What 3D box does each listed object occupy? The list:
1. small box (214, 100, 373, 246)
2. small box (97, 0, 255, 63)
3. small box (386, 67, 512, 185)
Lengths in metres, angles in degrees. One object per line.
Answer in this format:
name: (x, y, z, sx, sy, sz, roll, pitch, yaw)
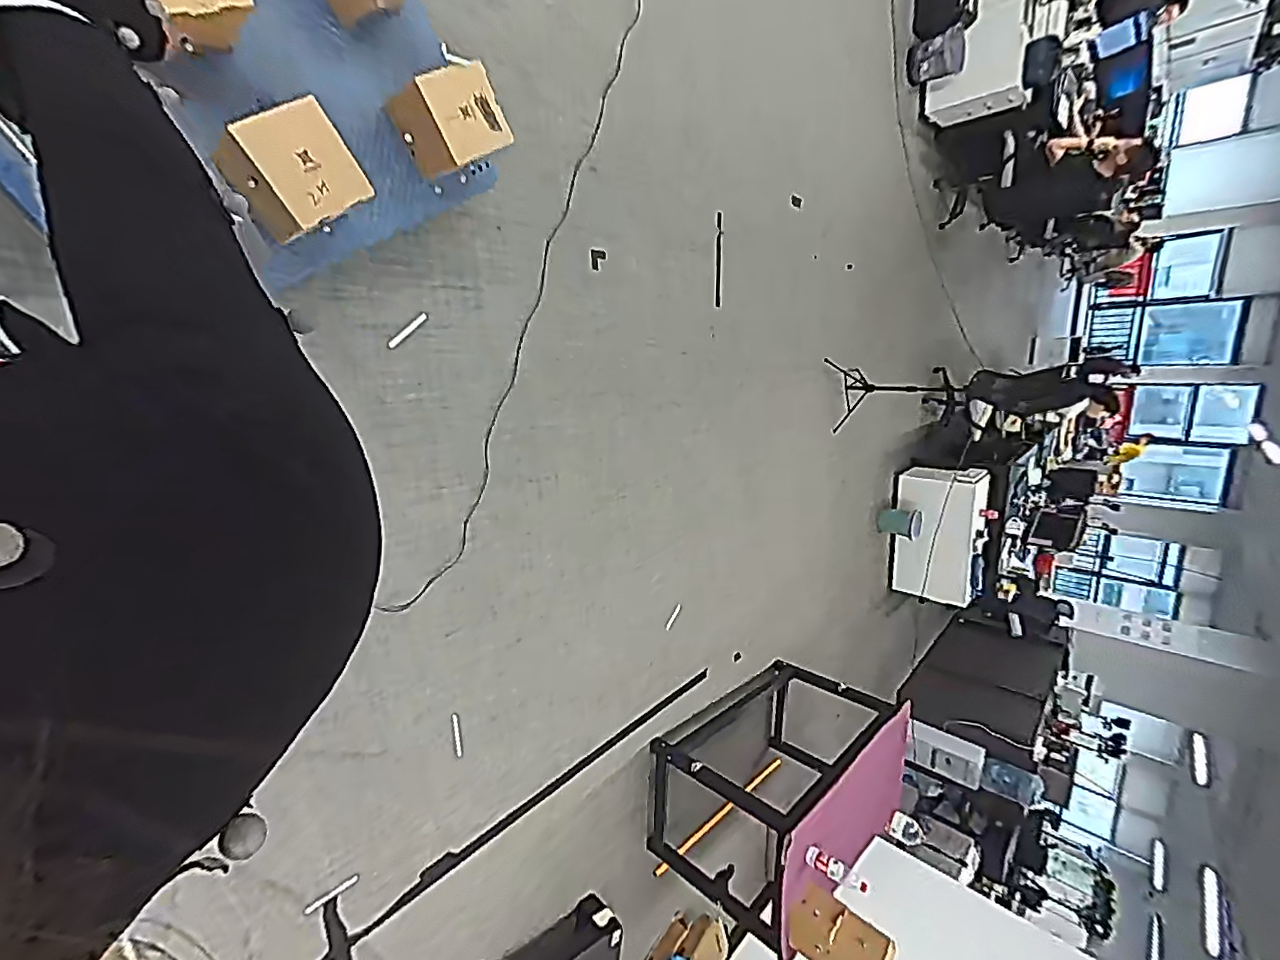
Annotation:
small box: (-0.658, -0.573, 1.026, 0.168, 0.176, 0.179, -48, 129, -29)
small box: (-0.772, -0.811, 0.863, 0.168, 0.176, 0.179, -44, 128, -33)
small box: (-0.432, -0.795, 1.224, 0.179, 0.176, 0.168, -45, 127, -30)
